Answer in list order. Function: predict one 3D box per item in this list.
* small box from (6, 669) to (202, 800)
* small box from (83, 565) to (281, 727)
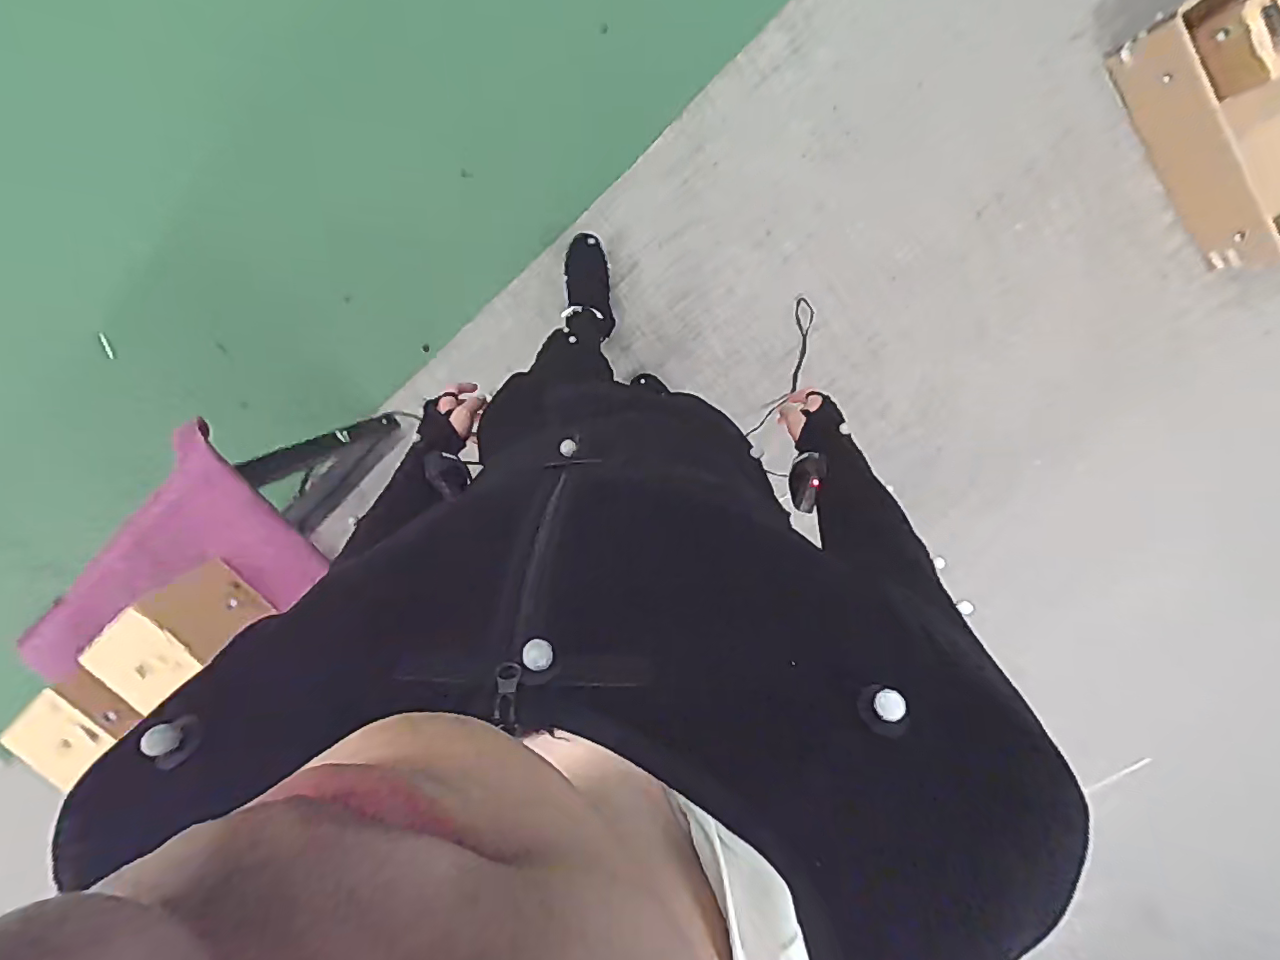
[{"bbox_3d":[-0.989,0.442,1.014,0.179,0.176,0.168,-40,100,13],"label":"small box"},{"bbox_3d":[-0.788,0.285,0.951,0.179,0.176,0.168,-37,101,15],"label":"small box"}]
